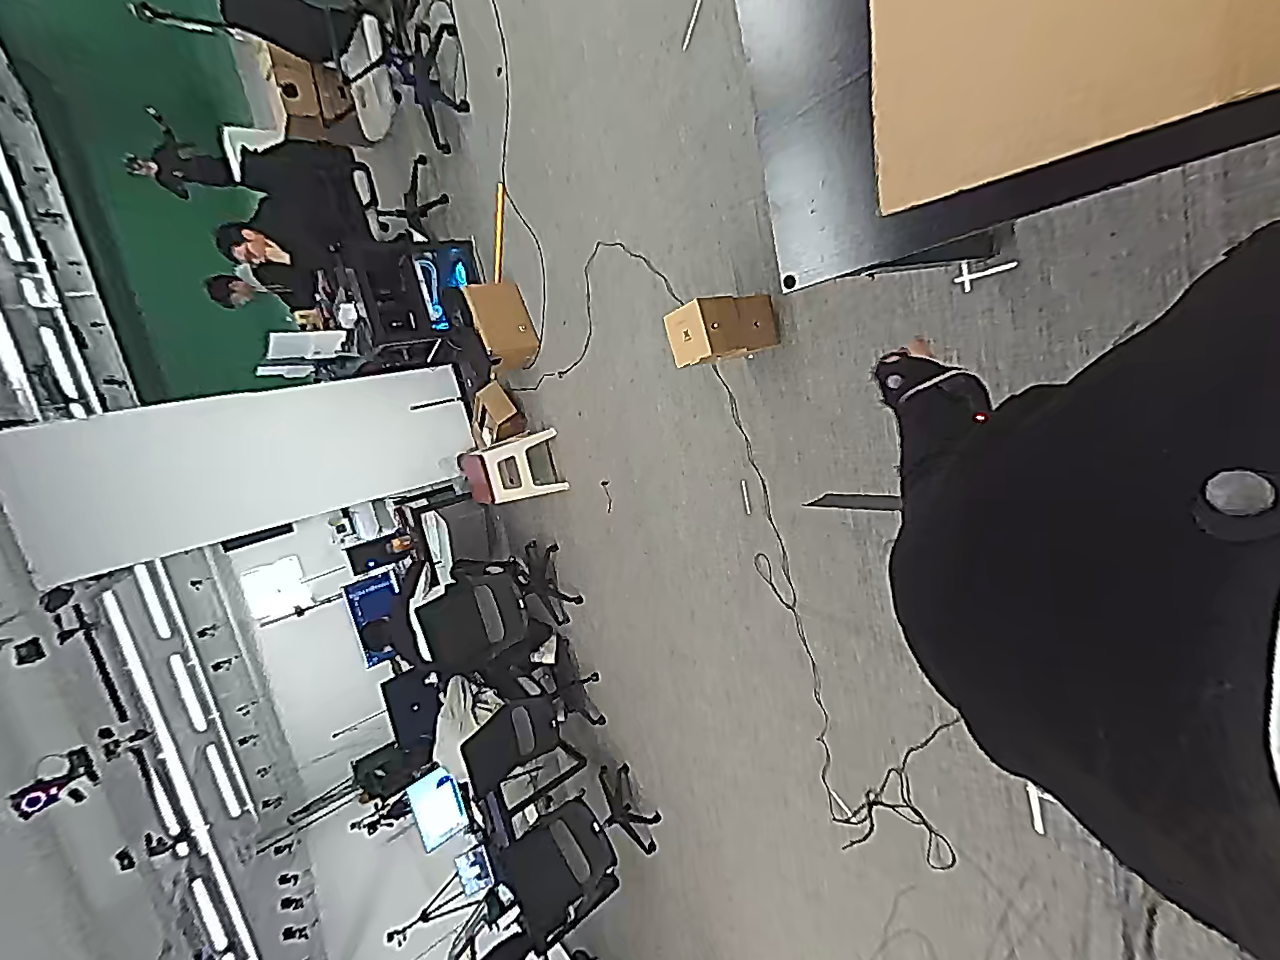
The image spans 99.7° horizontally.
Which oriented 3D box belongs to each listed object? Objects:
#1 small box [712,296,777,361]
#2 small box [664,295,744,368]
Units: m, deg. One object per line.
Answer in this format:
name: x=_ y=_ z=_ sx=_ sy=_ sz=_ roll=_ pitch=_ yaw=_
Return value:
small box: x=0.336 y=-0.512 z=1.819 sx=0.168 sy=0.176 sz=0.179 roll=-5 pitch=102 yaw=54
small box: x=0.208 y=-0.475 z=1.726 sx=0.168 sy=0.176 sz=0.179 roll=-11 pitch=96 yaw=54
